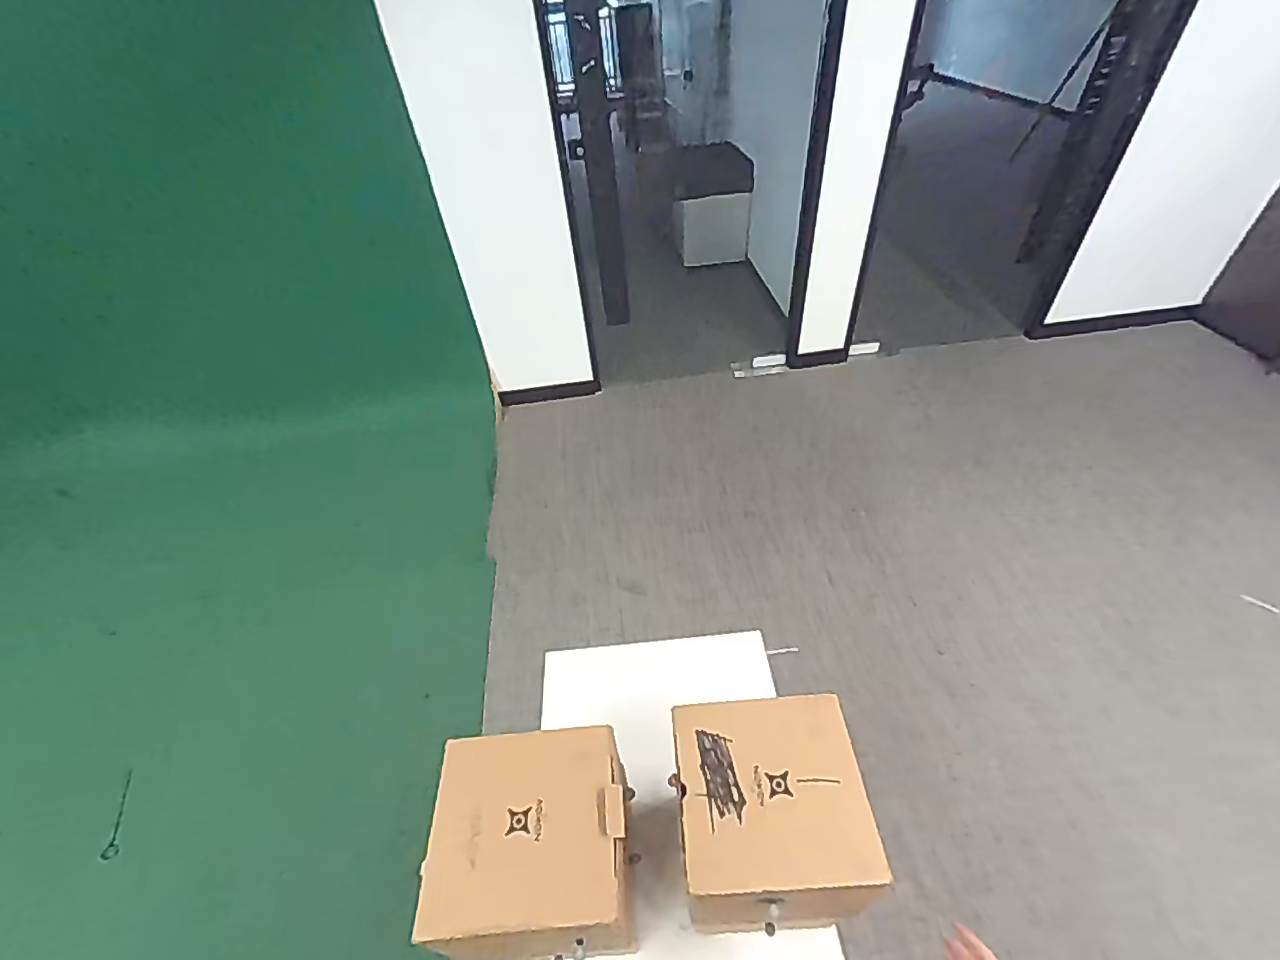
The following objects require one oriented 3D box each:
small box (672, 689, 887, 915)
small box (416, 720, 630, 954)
[{"bbox_3d":[0.130,0.341,0.570,0.179,0.176,0.168,-5,44,2],"label":"small box"},{"bbox_3d":[-0.103,0.373,0.565,0.179,0.176,0.168,-6,43,0],"label":"small box"}]
